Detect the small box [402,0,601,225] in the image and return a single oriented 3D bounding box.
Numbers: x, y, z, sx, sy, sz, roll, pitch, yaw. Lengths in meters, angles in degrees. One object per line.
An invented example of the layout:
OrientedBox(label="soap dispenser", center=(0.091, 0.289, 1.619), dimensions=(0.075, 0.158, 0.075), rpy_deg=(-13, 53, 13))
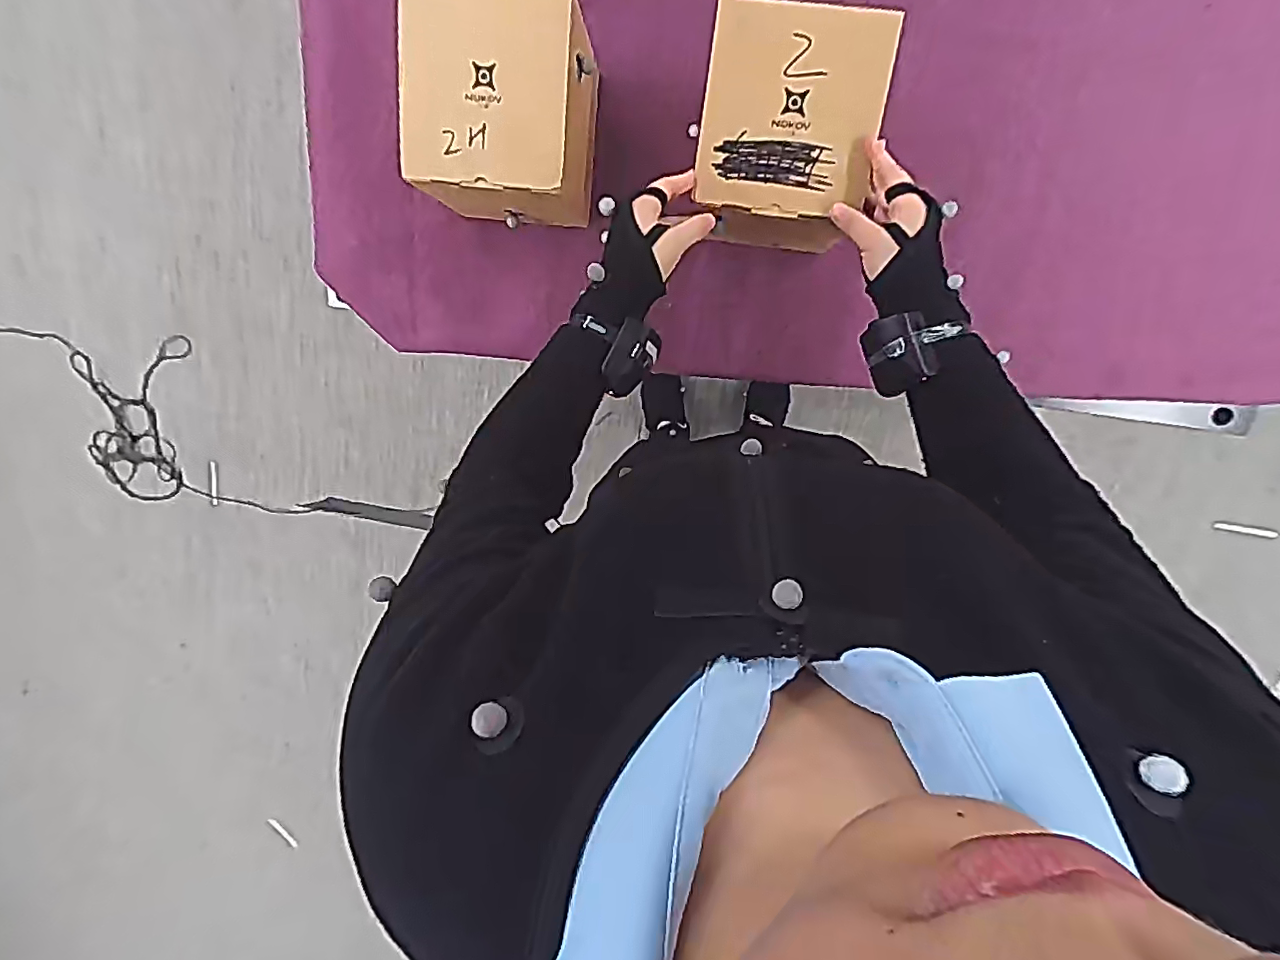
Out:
OrientedBox(label="small box", center=(-0.138, -0.395, 0.586), dimensions=(0.168, 0.176, 0.179), rpy_deg=(6, 105, 3))
